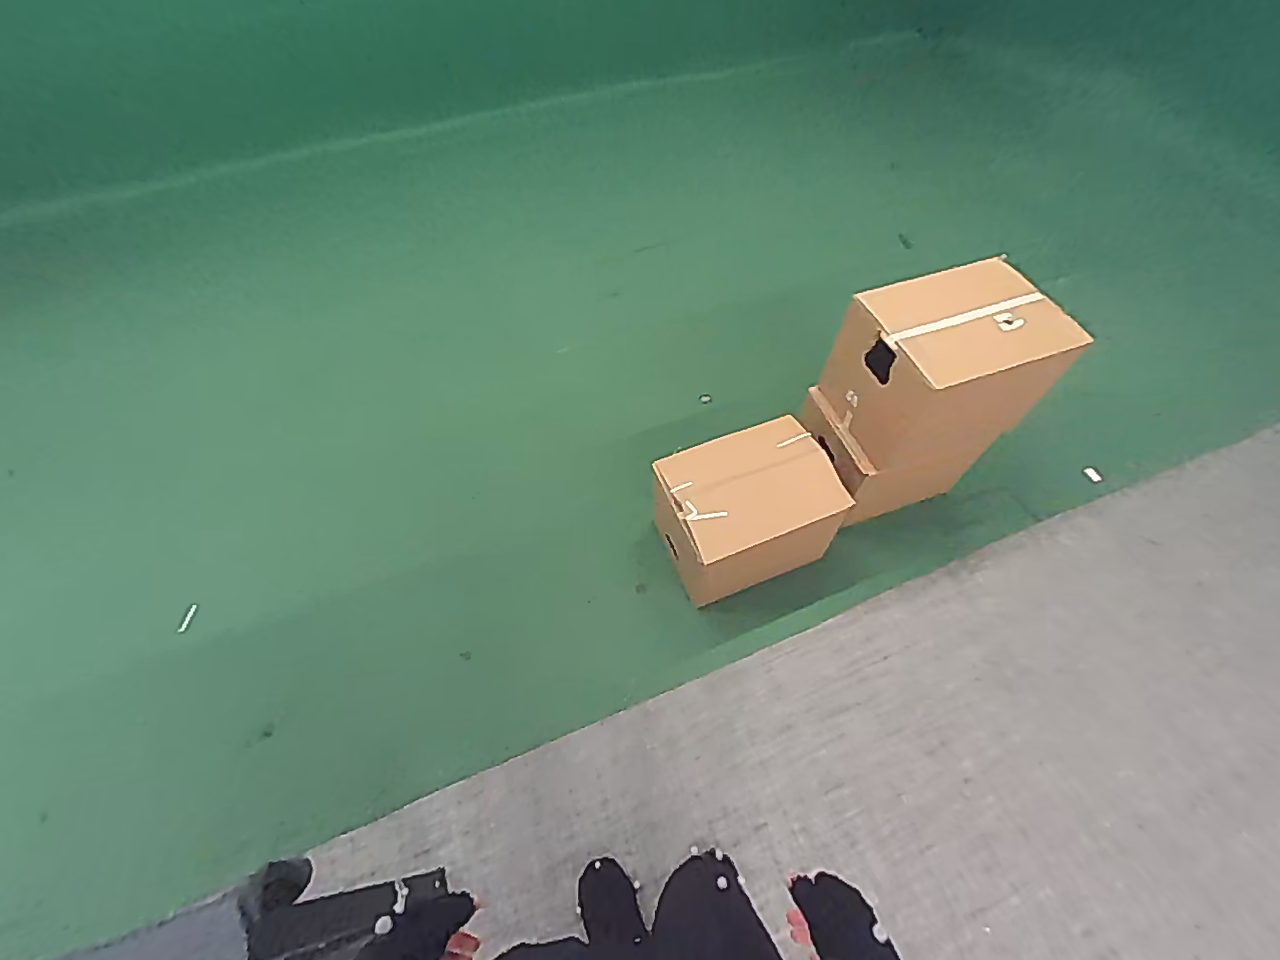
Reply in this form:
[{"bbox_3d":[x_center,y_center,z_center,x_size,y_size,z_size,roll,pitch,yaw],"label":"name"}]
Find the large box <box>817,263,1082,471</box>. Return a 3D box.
[{"bbox_3d":[0.720,-0.272,1.328,0.408,0.320,0.320,-17,60,-11],"label":"large box"}]
